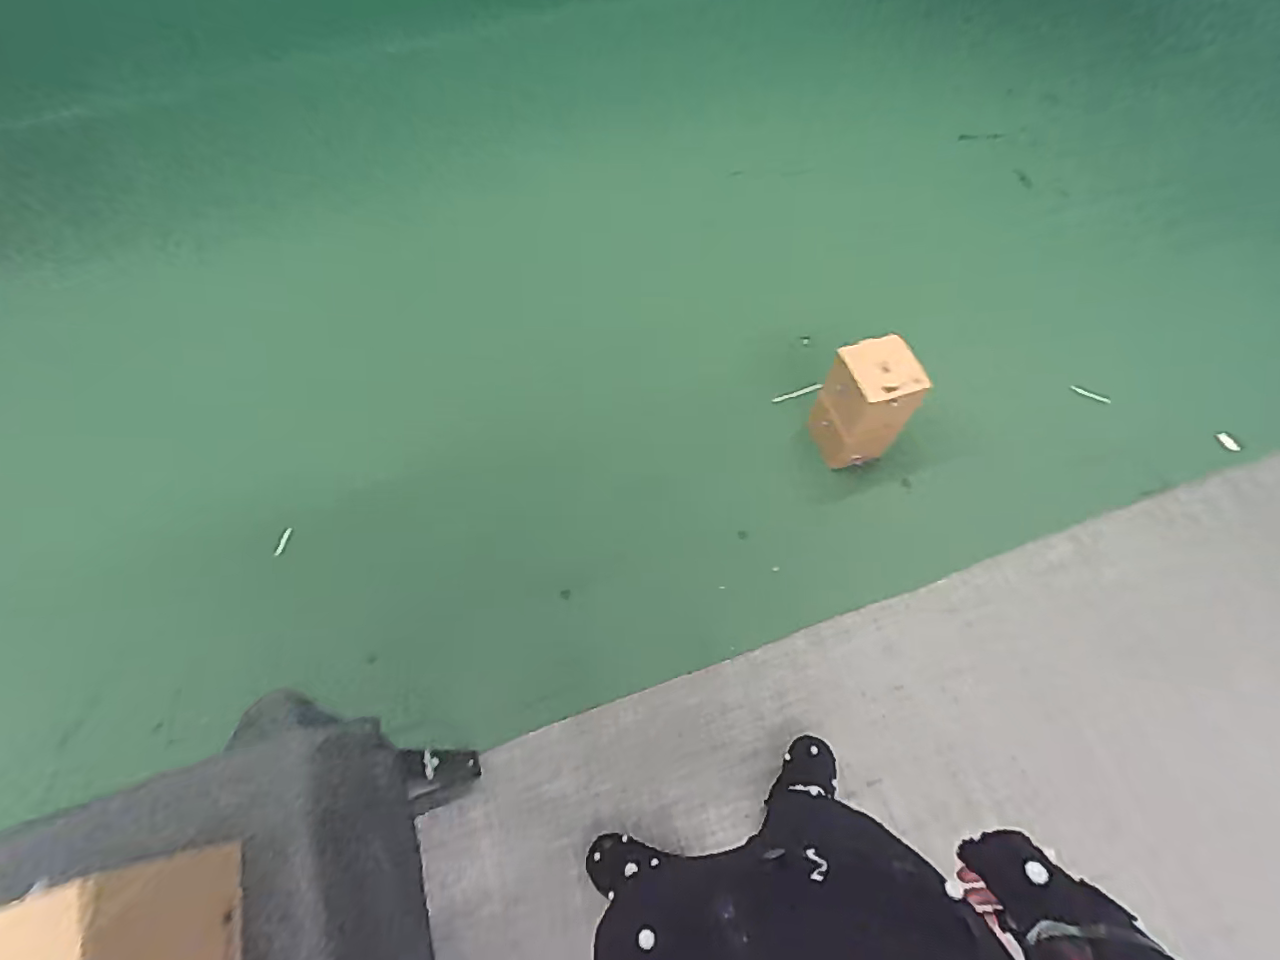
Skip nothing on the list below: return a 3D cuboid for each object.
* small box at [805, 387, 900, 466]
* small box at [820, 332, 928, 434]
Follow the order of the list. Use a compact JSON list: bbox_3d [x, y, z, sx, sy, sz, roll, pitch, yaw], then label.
[{"bbox_3d":[0.592,-0.168,1.535,0.168,0.176,0.179,-17,65,-6],"label":"small box"},{"bbox_3d":[0.589,-0.246,1.391,0.168,0.176,0.179,-16,63,-6],"label":"small box"}]
